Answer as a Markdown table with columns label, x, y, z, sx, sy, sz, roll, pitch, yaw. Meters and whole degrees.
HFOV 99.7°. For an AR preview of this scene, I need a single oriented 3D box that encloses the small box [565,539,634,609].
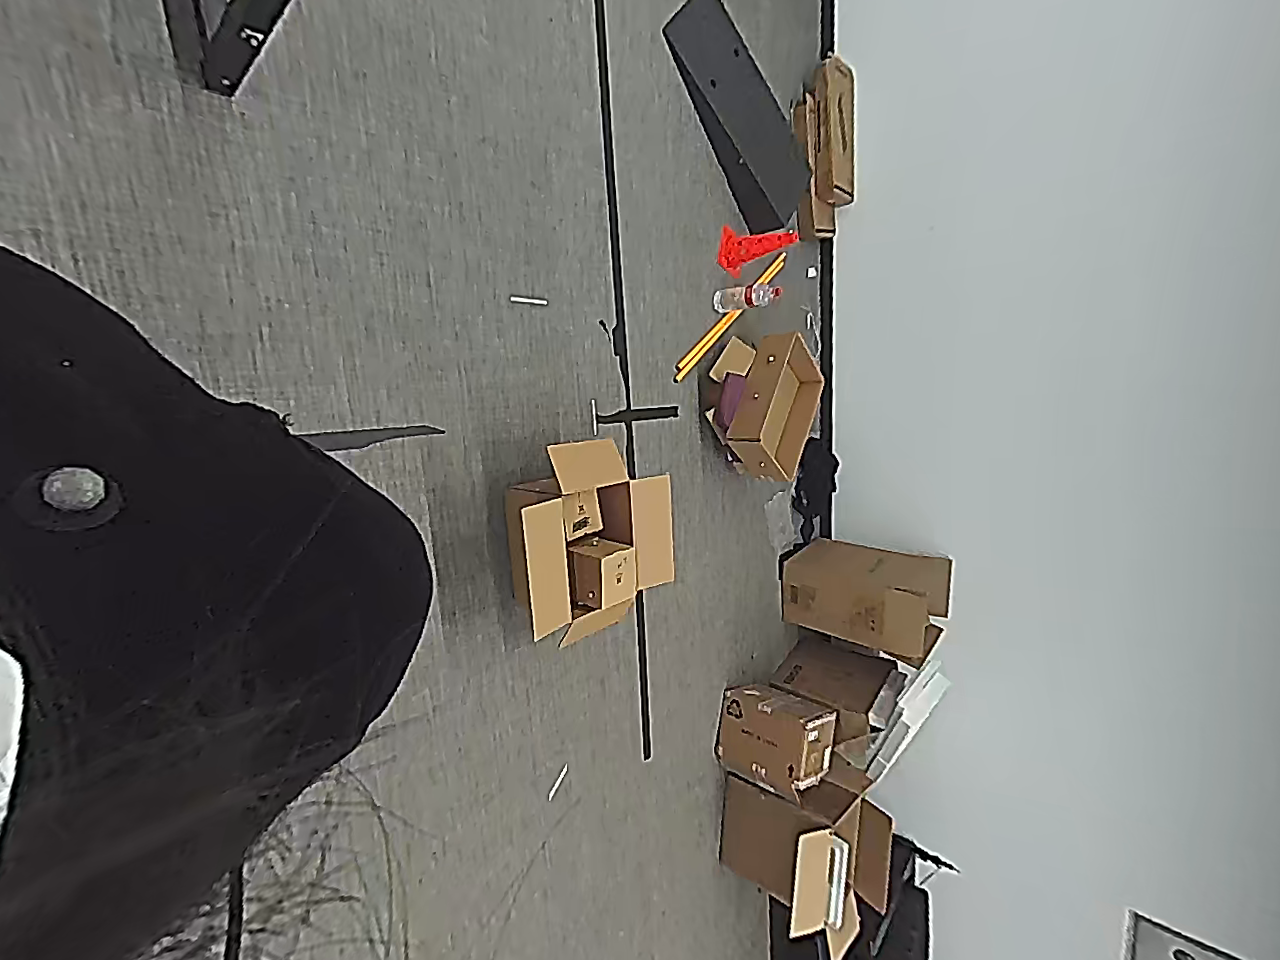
| label | x | y | z | sx | sy | sz | roll | pitch | yaw |
| --- | --- | --- | --- | --- | --- | --- | --- | --- | --- |
| small box | -0.136 | 0.307 | 1.807 | 0.168 | 0.176 | 0.179 | -11 | 103 | -49 |
